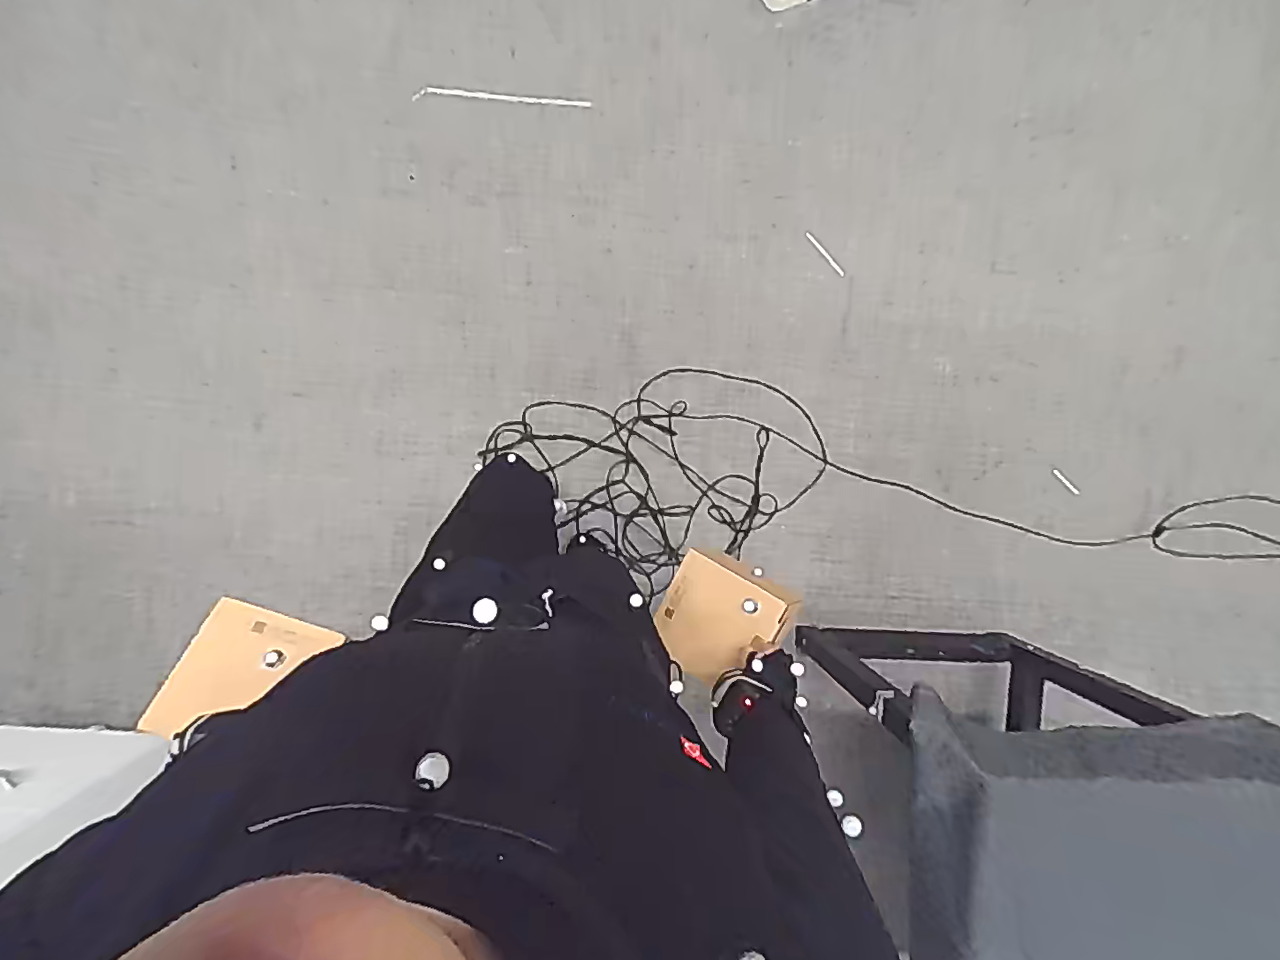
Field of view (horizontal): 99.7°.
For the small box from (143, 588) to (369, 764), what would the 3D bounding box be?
[{"bbox_3d":[-0.499,0.268,0.741,0.168,0.179,0.176,22,61,-7],"label":"small box"}]
